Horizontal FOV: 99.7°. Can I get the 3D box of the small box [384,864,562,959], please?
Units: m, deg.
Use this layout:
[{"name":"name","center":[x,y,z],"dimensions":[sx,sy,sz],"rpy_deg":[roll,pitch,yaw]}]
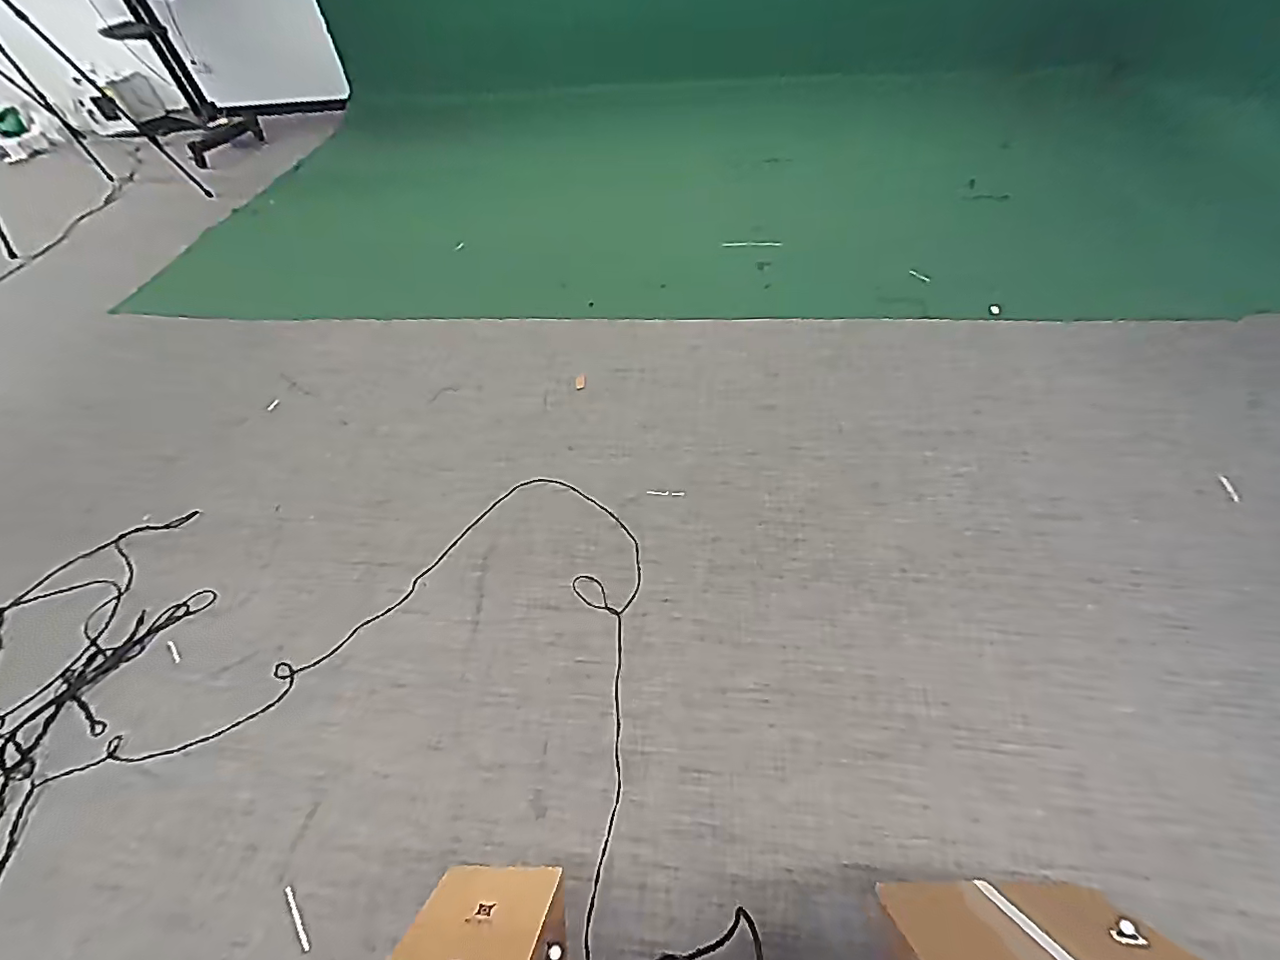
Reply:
[{"name":"small box","center":[-0.197,0.621,0.672],"dimensions":[0.168,0.179,0.176],"rpy_deg":[-3,87,5]}]
